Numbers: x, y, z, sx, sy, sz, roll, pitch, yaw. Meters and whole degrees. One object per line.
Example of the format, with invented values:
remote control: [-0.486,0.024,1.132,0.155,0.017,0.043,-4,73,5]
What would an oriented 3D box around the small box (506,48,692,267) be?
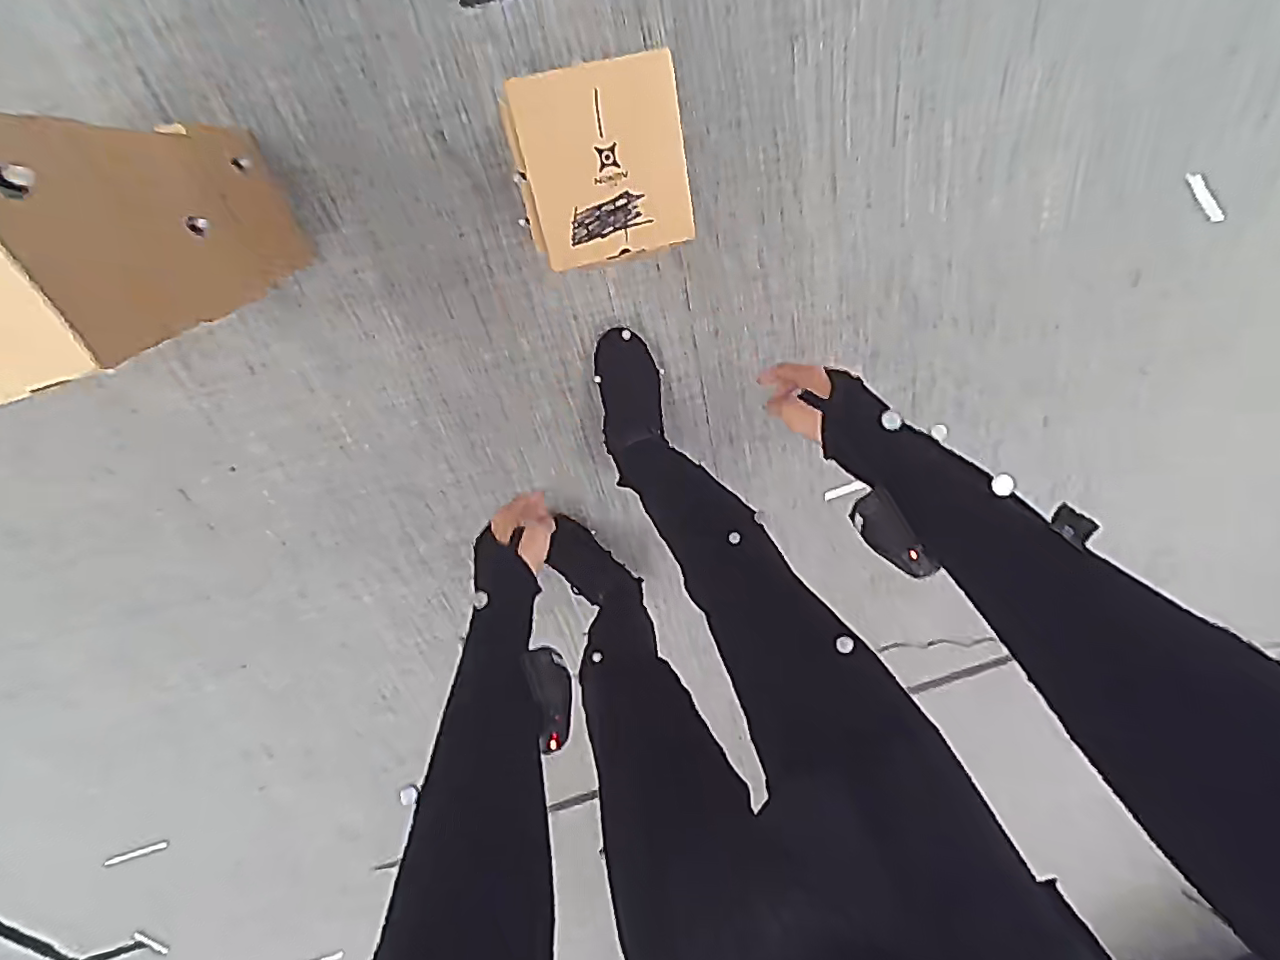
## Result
small box: [-0.049,-0.366,0.628,0.168,0.176,0.179,-15,121,-5]

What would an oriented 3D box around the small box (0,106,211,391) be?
small box: [-0.510,-0.180,0.433,0.168,0.176,0.179,-17,122,-1]

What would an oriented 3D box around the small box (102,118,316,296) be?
small box: [-0.570,-0.346,0.710,0.168,0.176,0.179,-18,121,-2]
